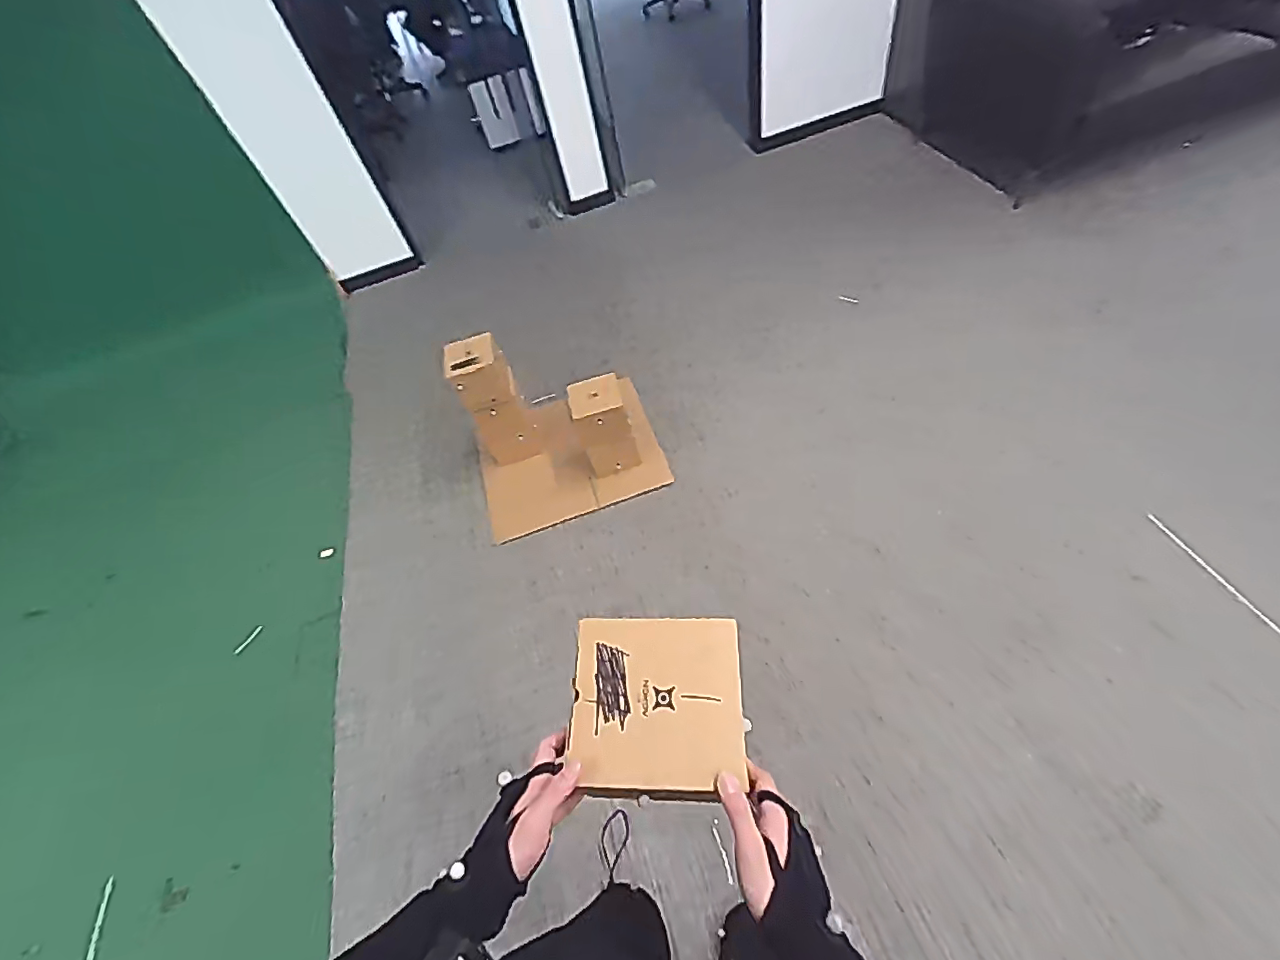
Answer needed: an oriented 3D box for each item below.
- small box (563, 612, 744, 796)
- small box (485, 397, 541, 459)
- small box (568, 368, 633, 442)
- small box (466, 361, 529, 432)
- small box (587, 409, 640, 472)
[{"bbox_3d":[0.022,0.259,0.617,0.179,0.176,0.168,-1,57,5],"label":"small box"},{"bbox_3d":[-0.498,-0.210,2.122,0.179,0.176,0.168,-18,53,-1],"label":"small box"},{"bbox_3d":[-0.135,-0.253,1.875,0.179,0.176,0.168,-15,54,1],"label":"small box"},{"bbox_3d":[-0.520,-0.304,1.992,0.179,0.176,0.168,-19,54,-1],"label":"small box"},{"bbox_3d":[-0.105,-0.158,2.005,0.179,0.176,0.168,-17,53,0],"label":"small box"}]
